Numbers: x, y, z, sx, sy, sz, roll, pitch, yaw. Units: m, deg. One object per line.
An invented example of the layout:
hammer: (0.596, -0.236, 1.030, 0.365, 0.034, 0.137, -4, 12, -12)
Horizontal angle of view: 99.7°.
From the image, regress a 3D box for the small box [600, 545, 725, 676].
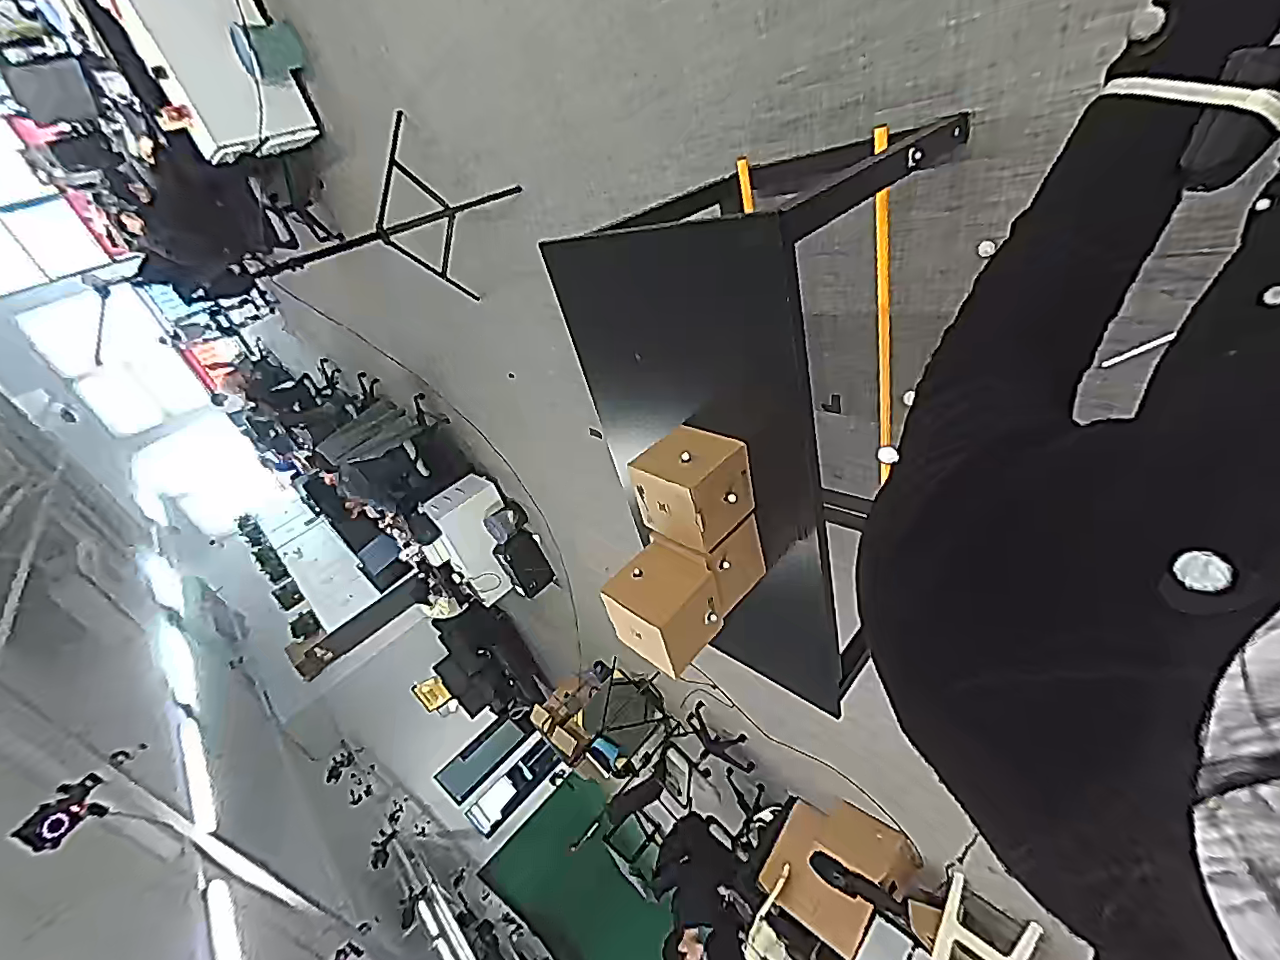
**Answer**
small box: (0.051, 0.261, 1.127, 0.179, 0.176, 0.168, 21, 140, 42)
